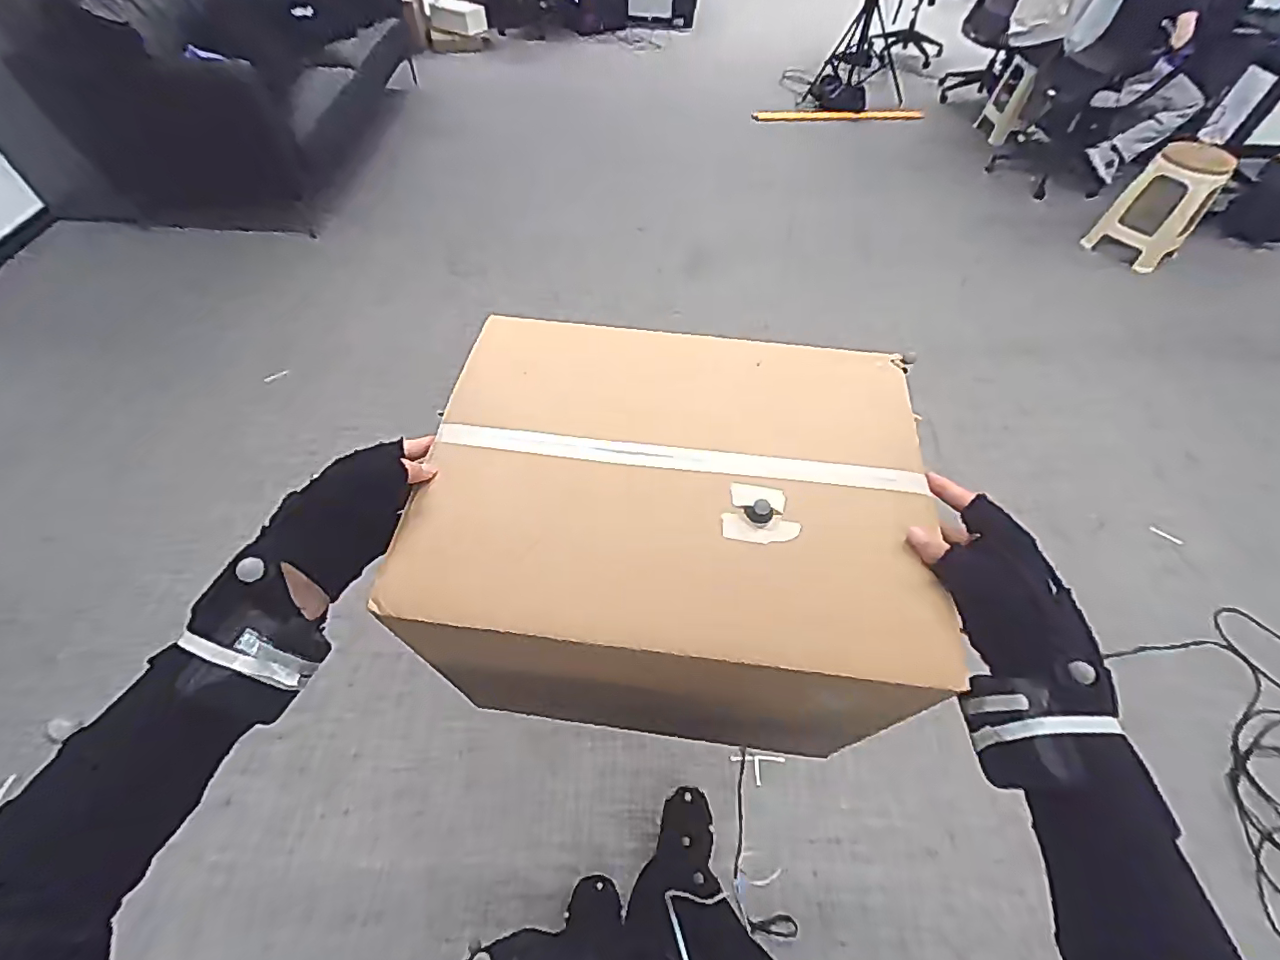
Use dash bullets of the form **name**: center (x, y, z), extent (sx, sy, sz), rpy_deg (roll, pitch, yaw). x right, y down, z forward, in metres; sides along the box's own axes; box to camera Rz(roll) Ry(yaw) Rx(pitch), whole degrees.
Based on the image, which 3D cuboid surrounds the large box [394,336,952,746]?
- **large box**: center (0.031, 0.076, 0.584), extent (0.408, 0.320, 0.320), rpy_deg (6, 56, 4)
